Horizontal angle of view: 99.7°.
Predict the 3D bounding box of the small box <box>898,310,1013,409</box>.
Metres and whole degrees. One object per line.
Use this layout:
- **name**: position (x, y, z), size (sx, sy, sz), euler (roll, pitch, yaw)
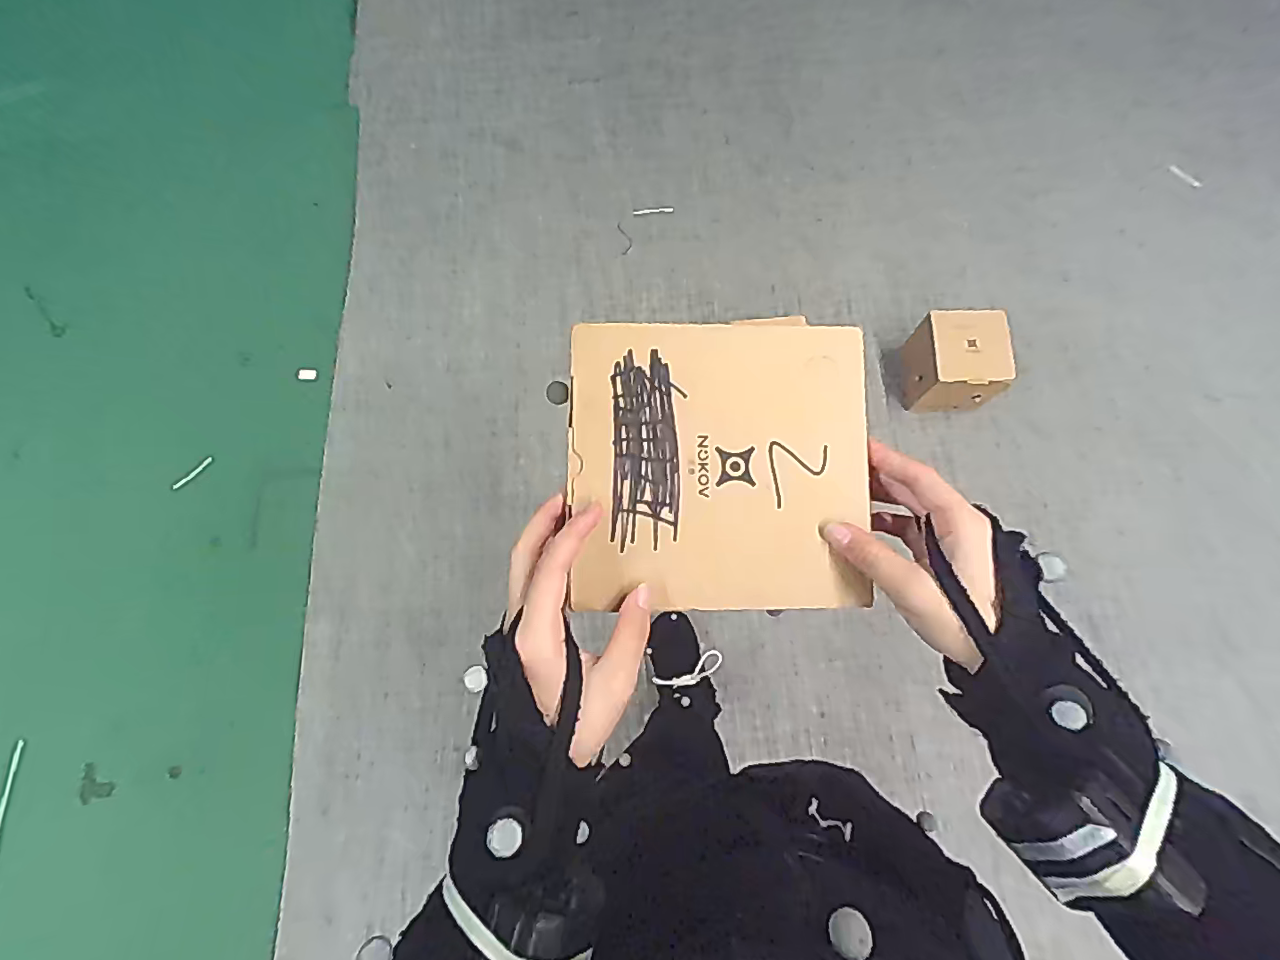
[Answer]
- **small box**: position (0.722, -0.273, 1.256), size (0.168, 0.176, 0.179), euler (1, 74, 2)
